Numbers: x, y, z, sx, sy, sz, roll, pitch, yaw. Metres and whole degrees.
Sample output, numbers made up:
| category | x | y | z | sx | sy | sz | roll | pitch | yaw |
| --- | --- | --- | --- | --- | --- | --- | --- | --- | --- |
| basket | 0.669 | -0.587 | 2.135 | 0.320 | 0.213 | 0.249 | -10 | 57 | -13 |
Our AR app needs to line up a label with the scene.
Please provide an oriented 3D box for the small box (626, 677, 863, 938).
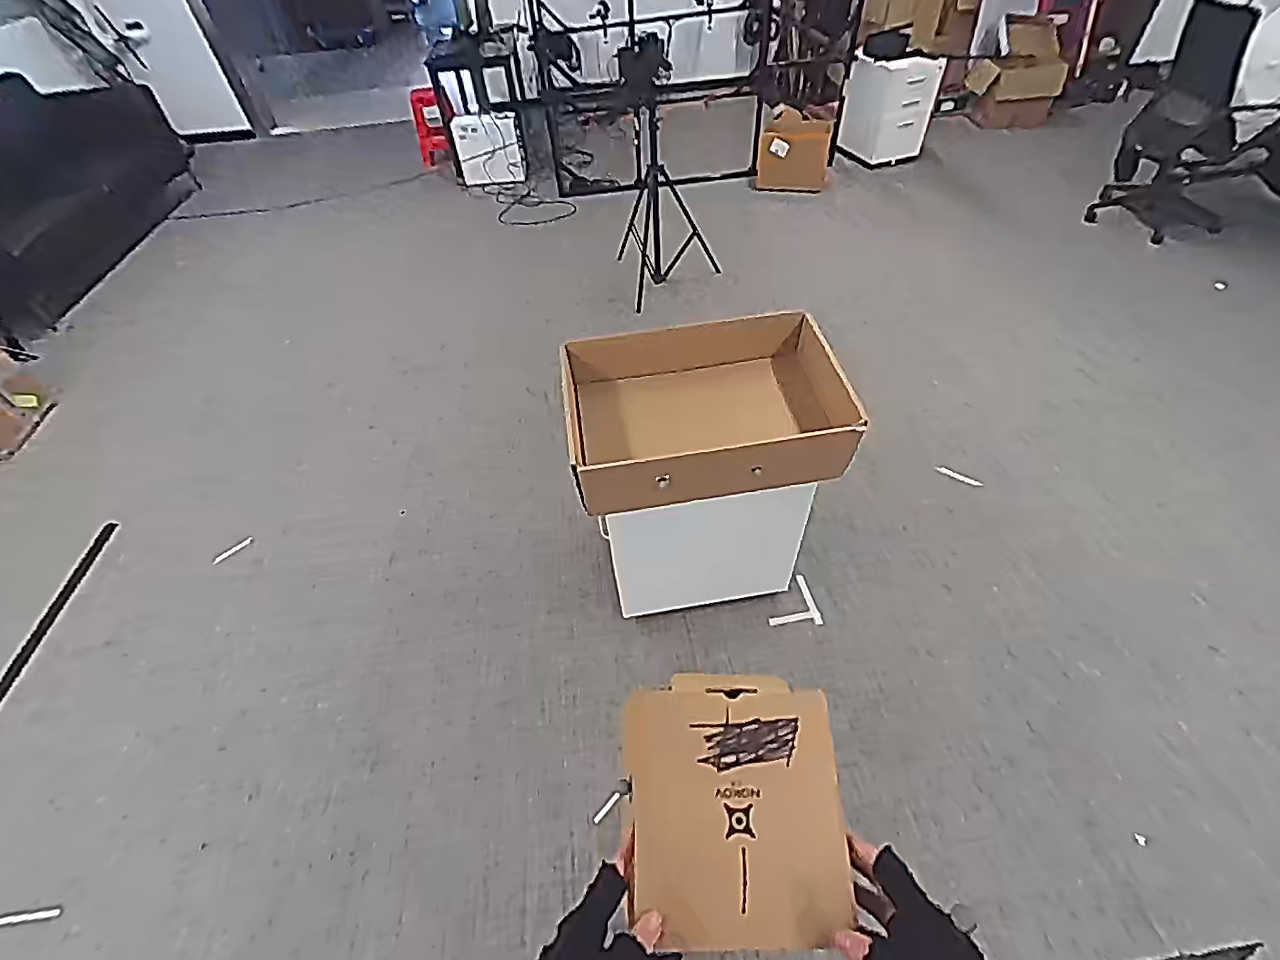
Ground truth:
| category | x | y | z | sx | sy | sz | roll | pitch | yaw |
| --- | --- | --- | --- | --- | --- | --- | --- | --- | --- |
| small box | 0.074 | 0.287 | 0.494 | 0.168 | 0.176 | 0.179 | 3 | 62 | -4 |
